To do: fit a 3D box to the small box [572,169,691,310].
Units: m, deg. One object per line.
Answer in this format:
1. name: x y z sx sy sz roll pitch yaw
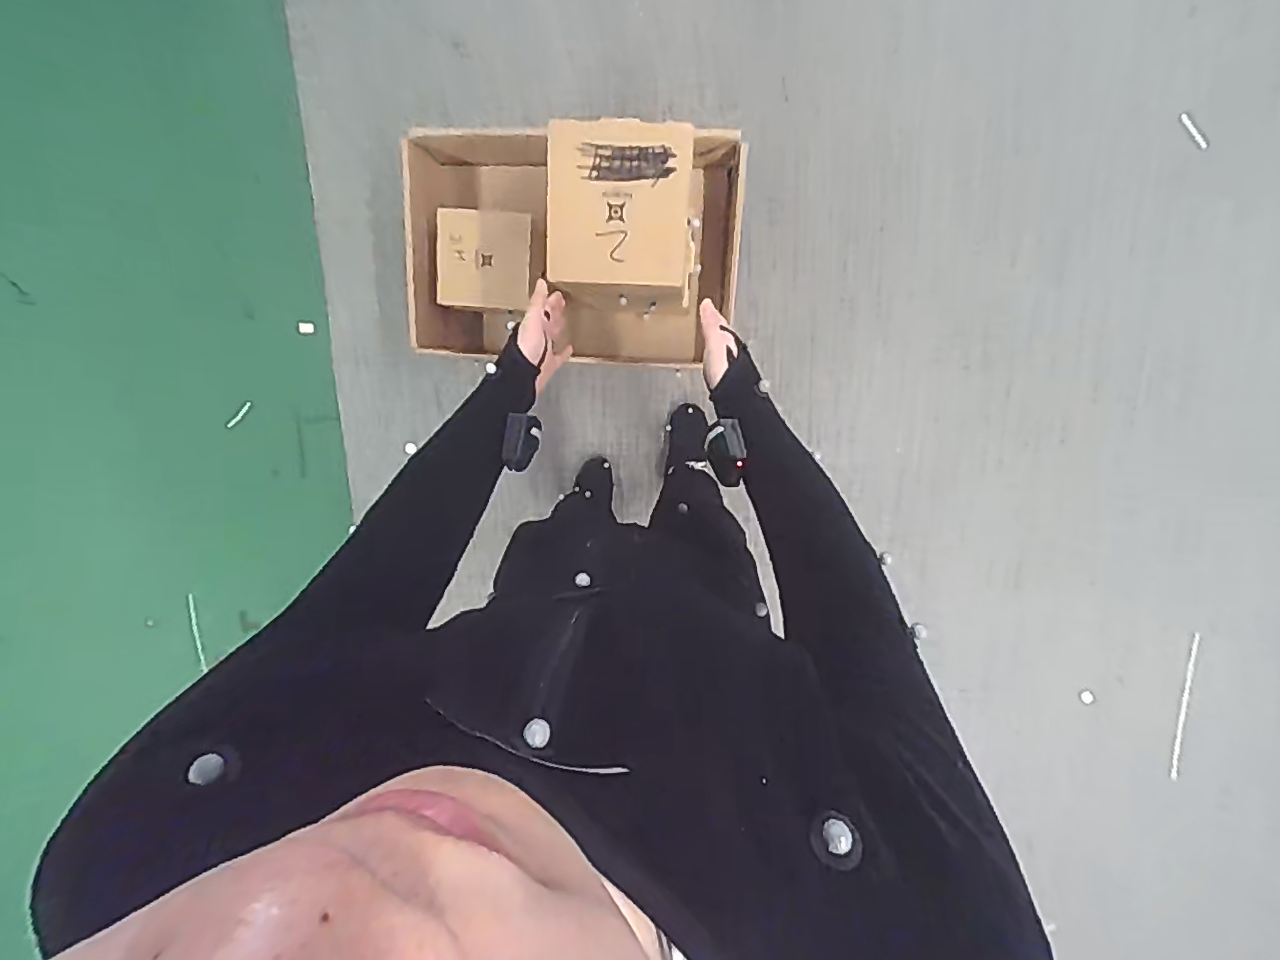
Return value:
1. small box: -0.007 -0.370 0.860 0.168 0.176 0.179 4 102 4
